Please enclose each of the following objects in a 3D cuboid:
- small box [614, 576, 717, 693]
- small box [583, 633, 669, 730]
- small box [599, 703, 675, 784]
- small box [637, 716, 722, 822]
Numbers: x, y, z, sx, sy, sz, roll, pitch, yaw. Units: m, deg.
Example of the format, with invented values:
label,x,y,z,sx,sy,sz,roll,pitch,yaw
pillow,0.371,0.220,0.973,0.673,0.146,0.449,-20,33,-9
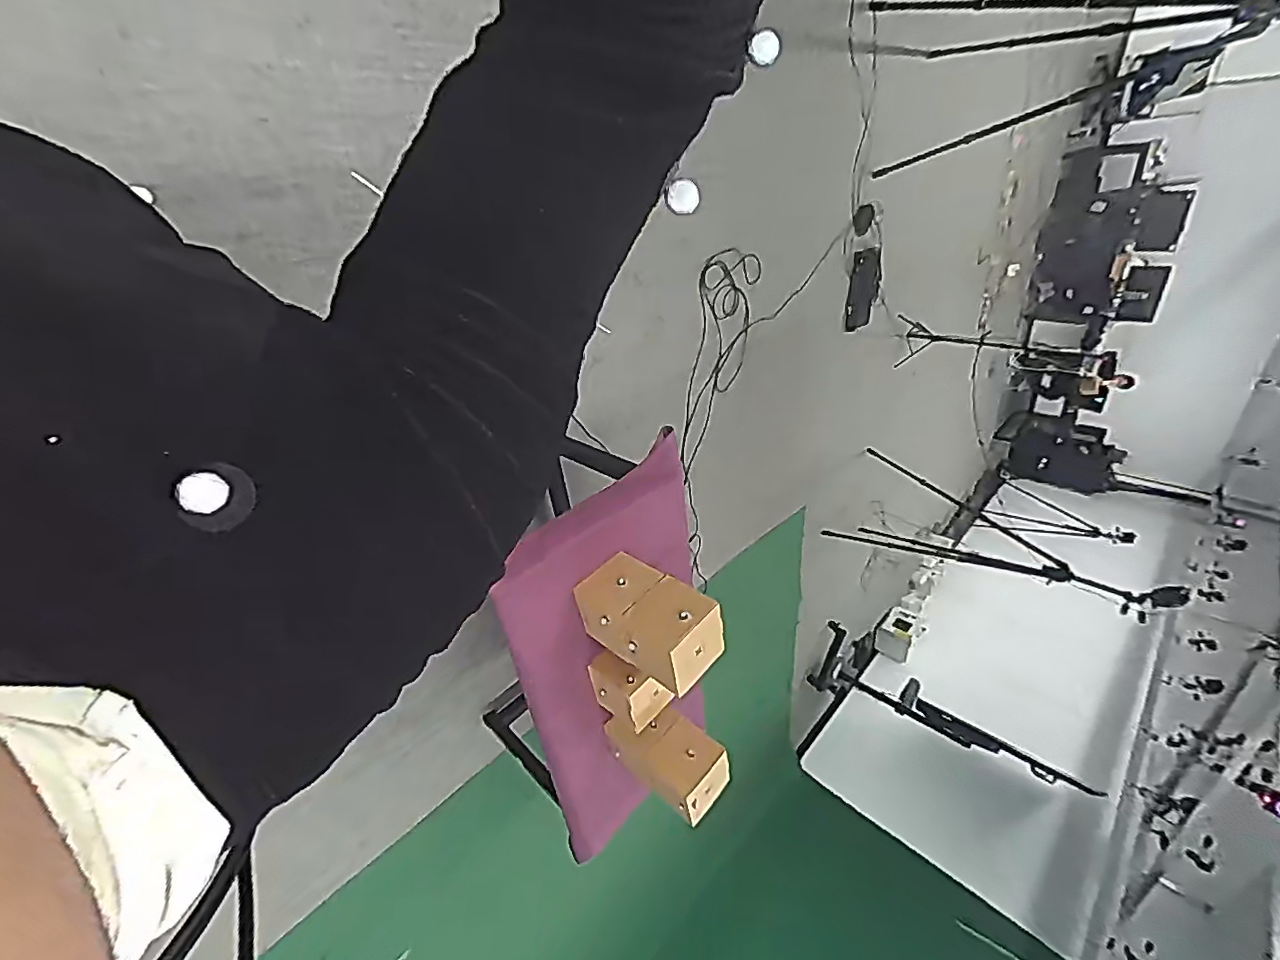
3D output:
label,x,y,z,sx,sy,sz,roll,pitch,yaw
small box,0.062,0.359,1.294,0.179,0.176,0.168,-35,130,-34
small box,-0.035,0.555,1.534,0.179,0.176,0.168,-34,130,-33
small box,-0.001,0.781,1.670,0.179,0.176,0.168,-35,130,-33
small box,0.117,0.828,1.567,0.179,0.176,0.168,-37,130,-33
